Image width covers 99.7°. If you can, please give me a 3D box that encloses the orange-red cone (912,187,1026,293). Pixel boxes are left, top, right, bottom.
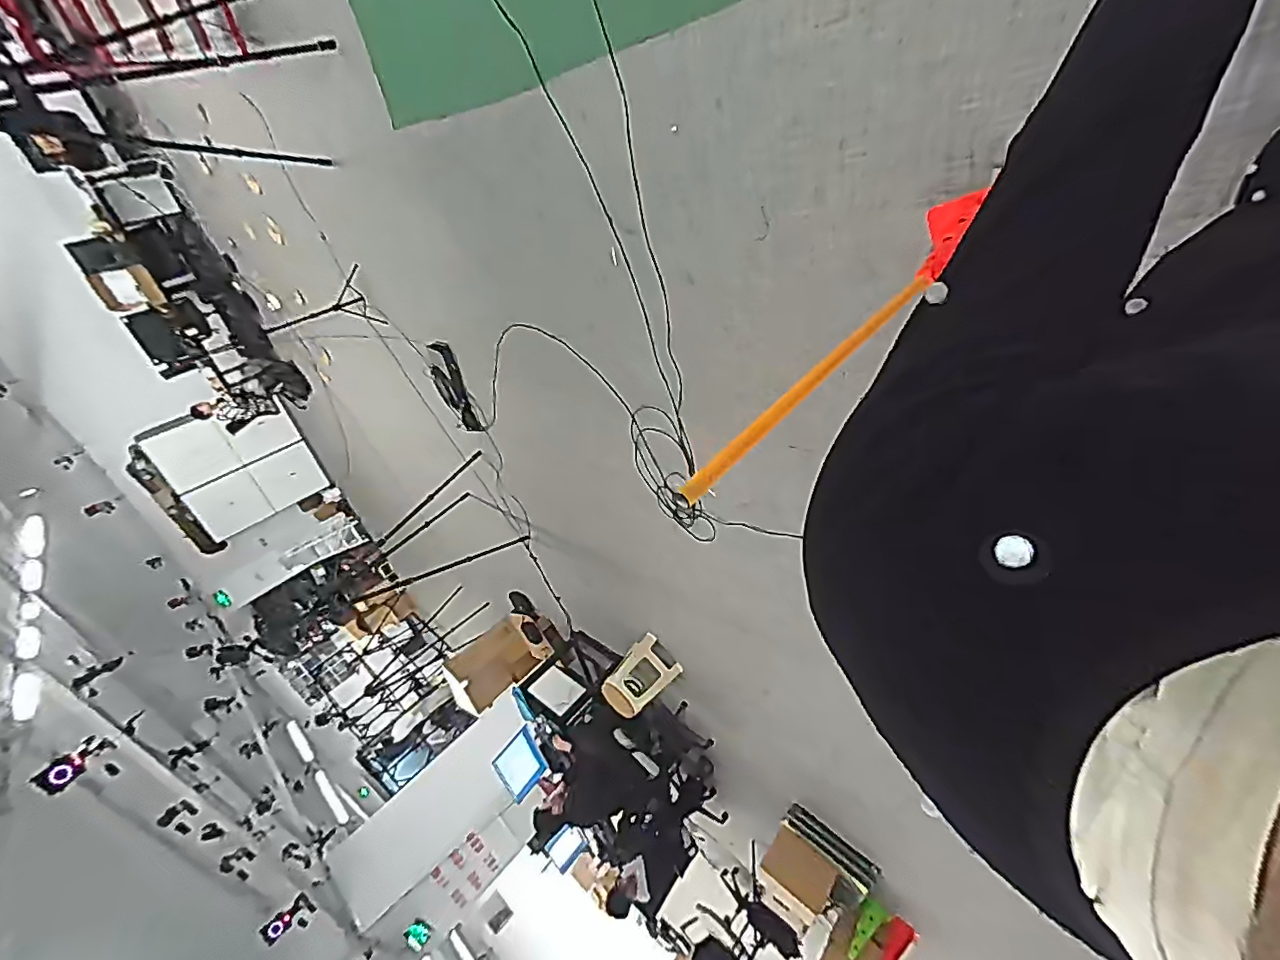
[{"bbox_3d":[0.700,-0.494,1.220,0.199,0.360,0.198,3,123,51],"label":"orange-red cone"}]
